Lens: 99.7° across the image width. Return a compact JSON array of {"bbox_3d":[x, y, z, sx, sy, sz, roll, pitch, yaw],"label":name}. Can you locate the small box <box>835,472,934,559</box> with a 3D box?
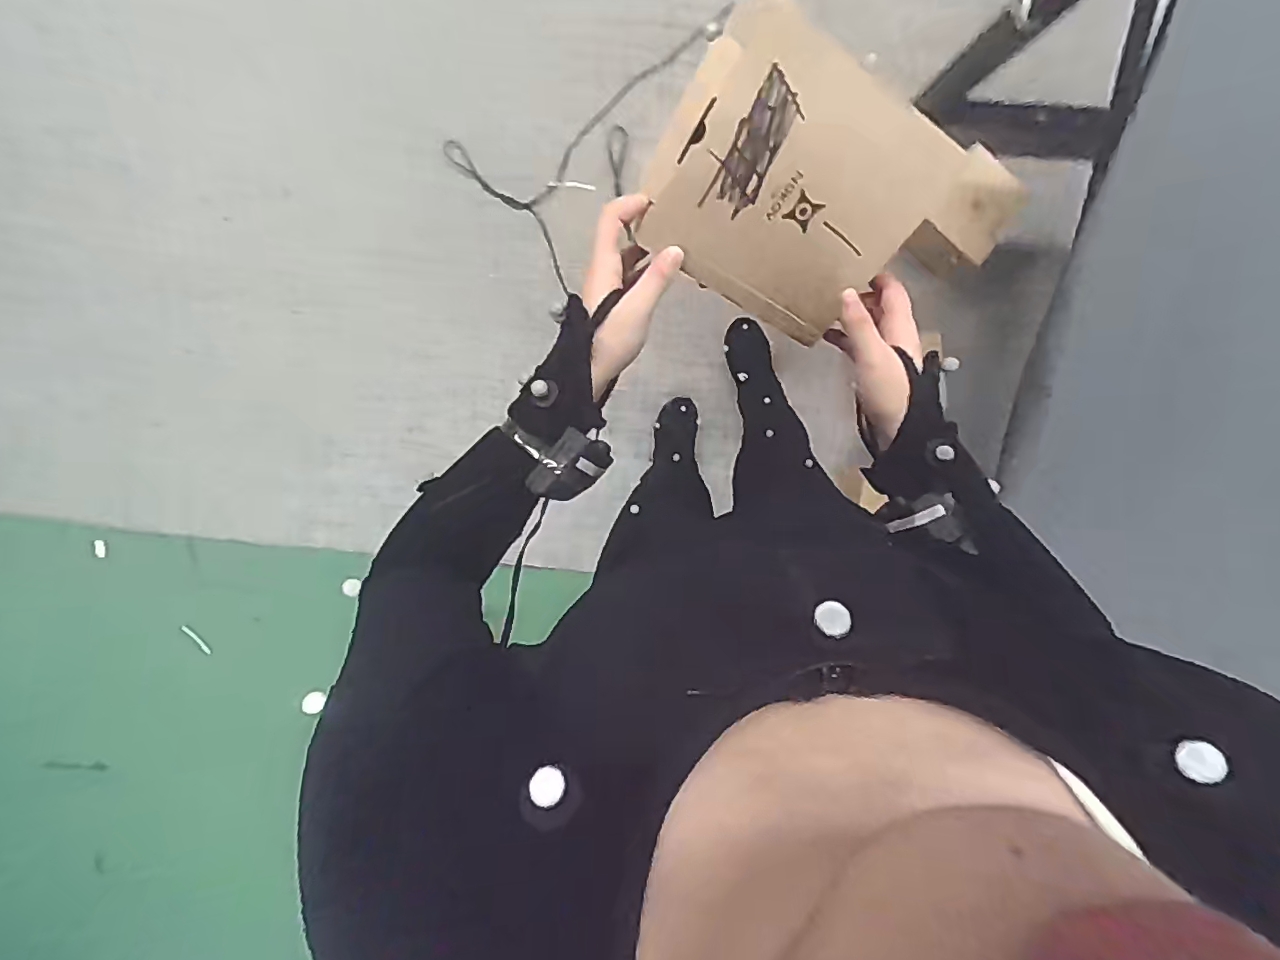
[{"bbox_3d":[0.604,0.083,1.357,0.168,0.176,0.179,4,104,2],"label":"small box"}]

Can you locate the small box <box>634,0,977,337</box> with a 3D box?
[{"bbox_3d":[0.109,-0.253,0.433,0.179,0.176,0.168,23,128,-19],"label":"small box"}]

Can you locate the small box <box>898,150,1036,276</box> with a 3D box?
[{"bbox_3d":[0.705,-0.577,1.200,0.179,0.176,0.168,37,102,-7],"label":"small box"}]
